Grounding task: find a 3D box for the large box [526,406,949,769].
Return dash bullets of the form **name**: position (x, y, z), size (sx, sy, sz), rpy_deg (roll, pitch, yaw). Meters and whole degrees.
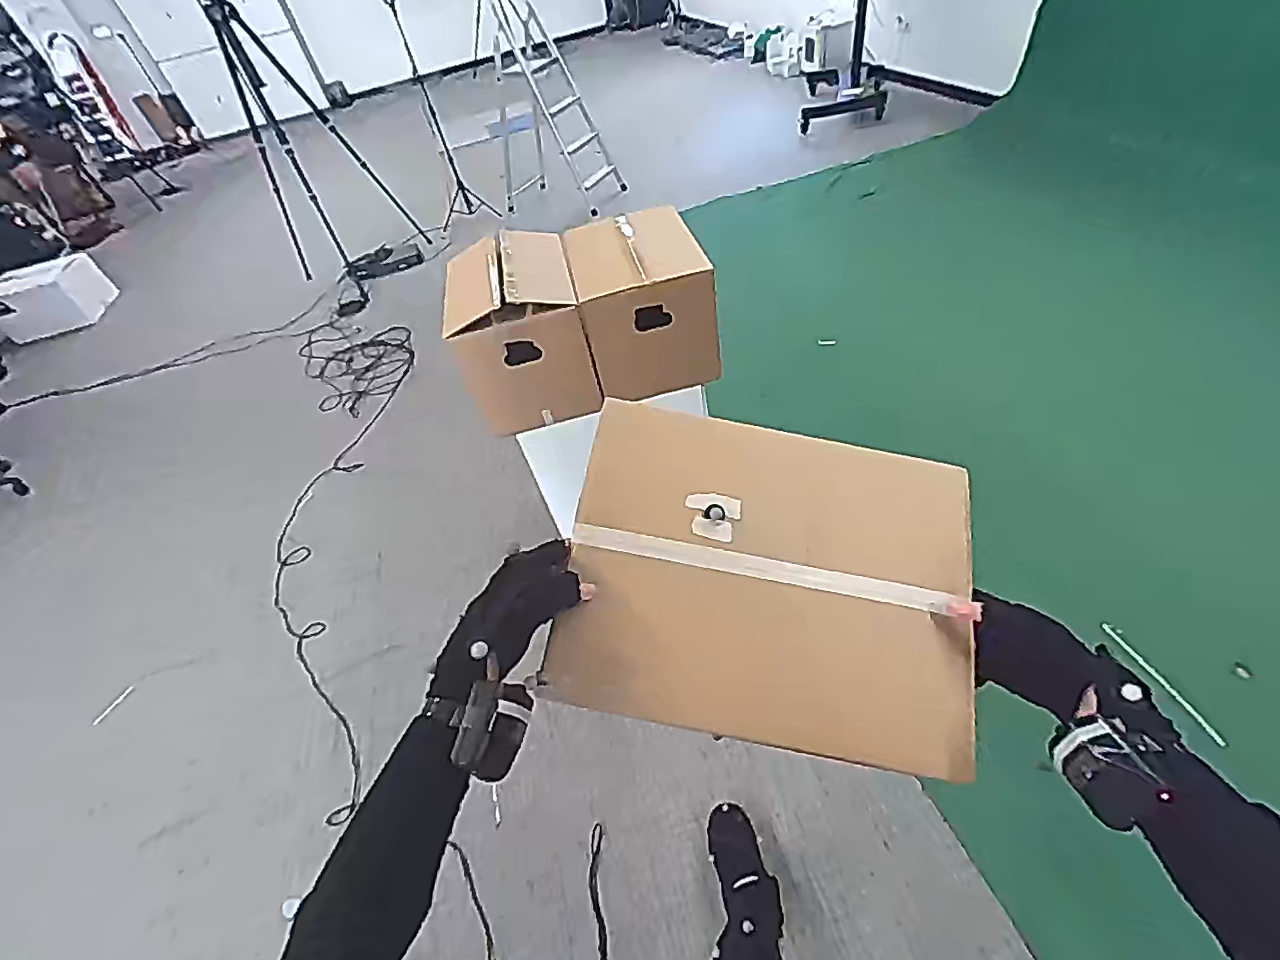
- **large box**: position (0.111, 0.139, 0.688), size (0.408, 0.320, 0.320), rpy_deg (11, 70, 2)
